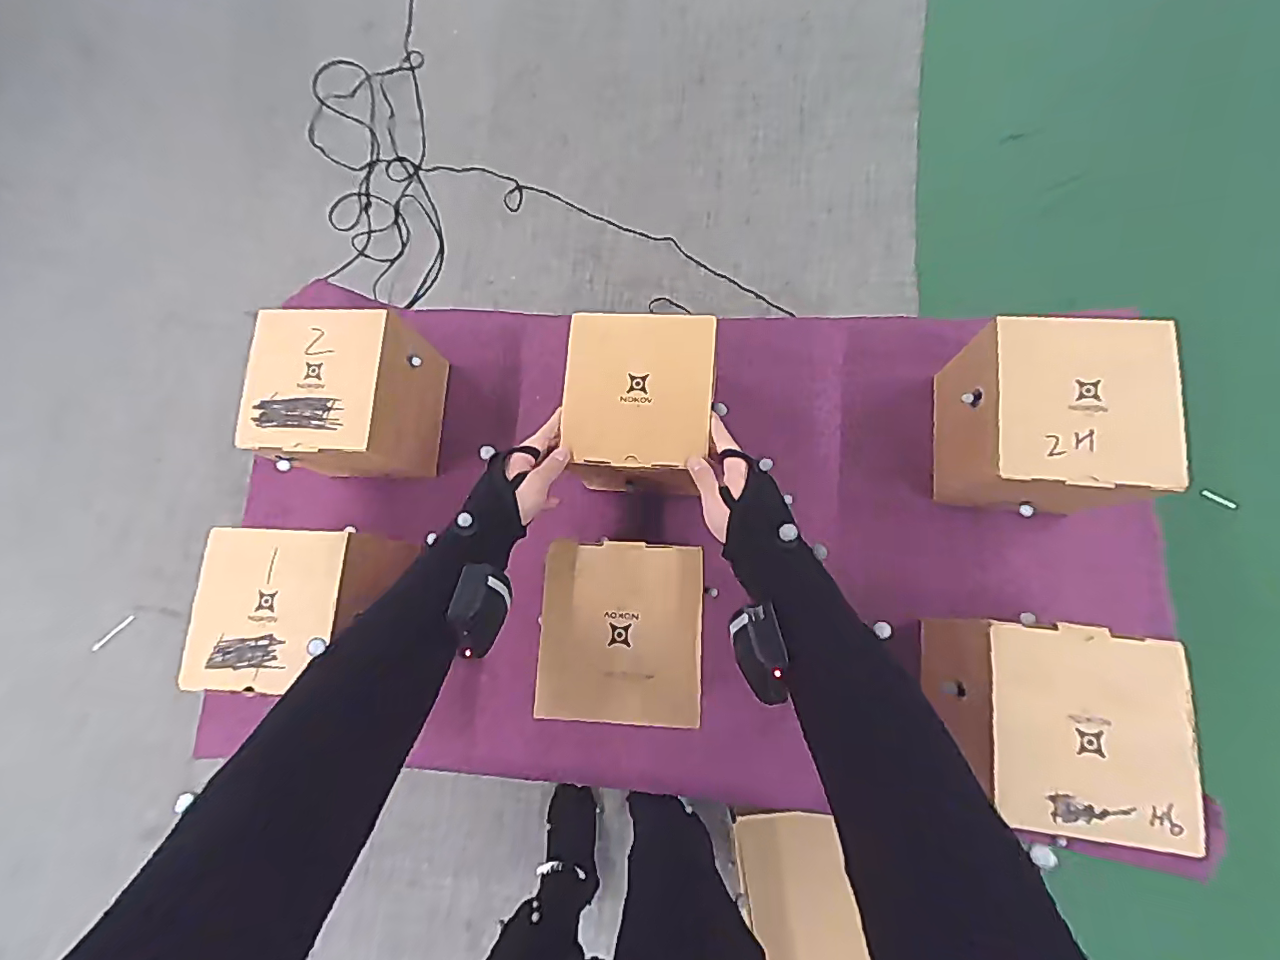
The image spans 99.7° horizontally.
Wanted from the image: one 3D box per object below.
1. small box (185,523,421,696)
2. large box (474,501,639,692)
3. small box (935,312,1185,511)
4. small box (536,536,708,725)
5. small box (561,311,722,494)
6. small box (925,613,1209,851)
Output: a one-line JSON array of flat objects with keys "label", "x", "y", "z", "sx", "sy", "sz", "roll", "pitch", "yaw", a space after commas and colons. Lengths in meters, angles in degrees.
[{"label": "small box", "x": -0.390, "y": 0.154, "z": 0.661, "sx": 0.168, "sy": 0.176, "sz": 0.179, "roll": 2, "pitch": 76, "yaw": 6}, {"label": "large box", "x": -0.173, "y": 0.277, "z": 1.292, "sx": 0.320, "sy": 0.320, "sz": 0.408, "roll": 1, "pitch": 77, "yaw": 5}, {"label": "small box", "x": 0.453, "y": -0.068, "z": 0.615, "sx": 0.168, "sy": 0.176, "sz": 0.179, "roll": 4, "pitch": 80, "yaw": 10}, {"label": "small box", "x": -0.008, "y": 0.165, "z": 0.619, "sx": 0.168, "sy": 0.176, "sz": 0.179, "roll": 1, "pitch": 77, "yaw": 8}, {"label": "small box", "x": 0.010, "y": -0.088, "z": 0.672, "sx": 0.168, "sy": 0.176, "sz": 0.179, "roll": 4, "pitch": 79, "yaw": 7}, {"label": "small box", "x": 0.407, "y": 0.237, "z": 0.554, "sx": 0.168, "sy": 0.176, "sz": 0.179, "roll": 5, "pitch": 76, "yaw": 9}]
